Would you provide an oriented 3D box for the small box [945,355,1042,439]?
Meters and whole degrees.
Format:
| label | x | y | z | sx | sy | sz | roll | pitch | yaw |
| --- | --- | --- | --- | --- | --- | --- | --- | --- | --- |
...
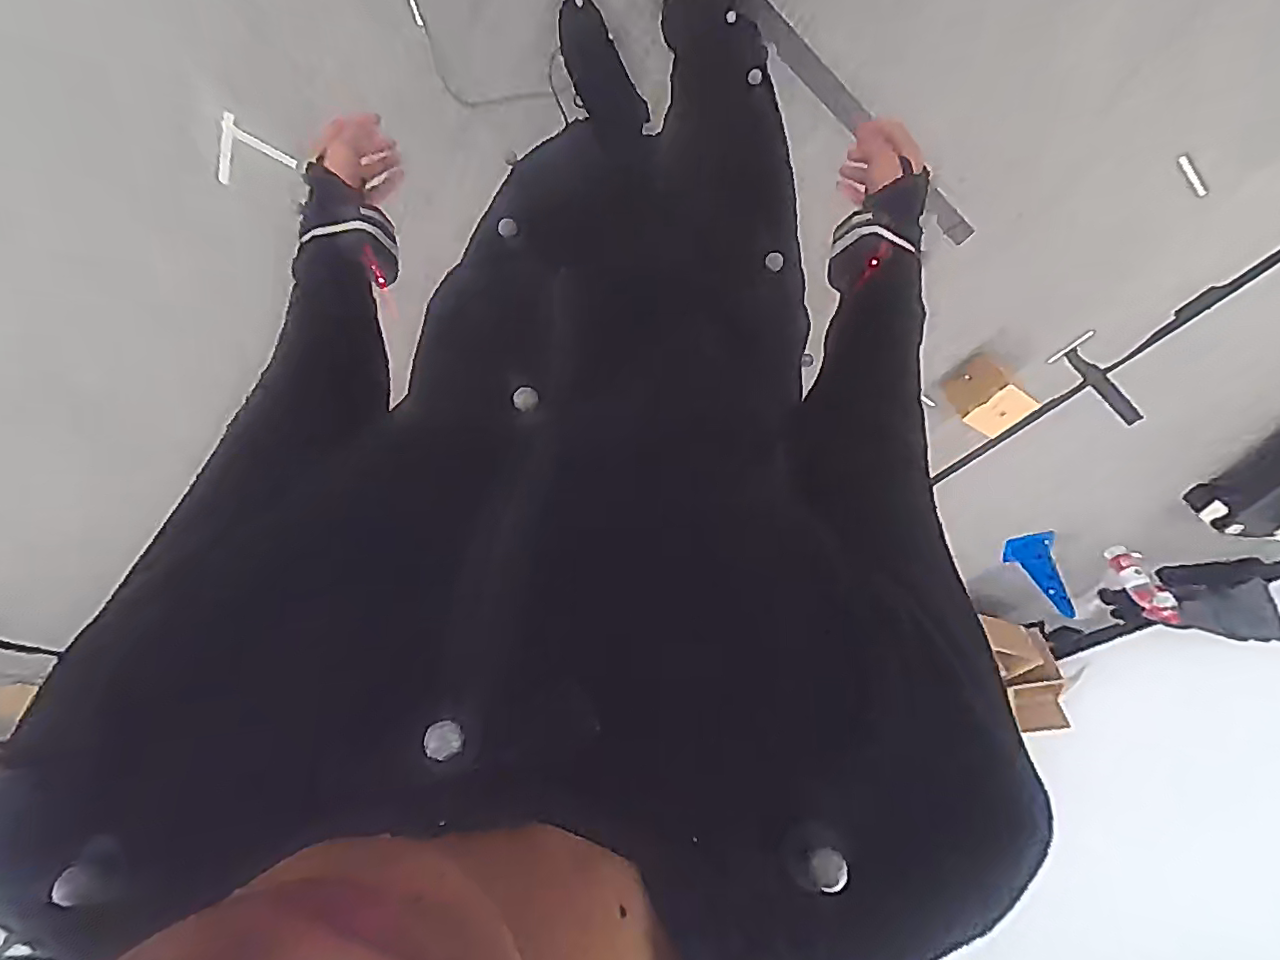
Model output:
| label | x | y | z | sx | sy | sz | roll | pitch | yaw |
| --- | --- | --- | --- | --- | --- | --- | --- | --- | --- |
| small box | 1.128 | -0.269 | 1.735 | 0.179 | 0.176 | 0.168 | 23 | 132 | -22 |
